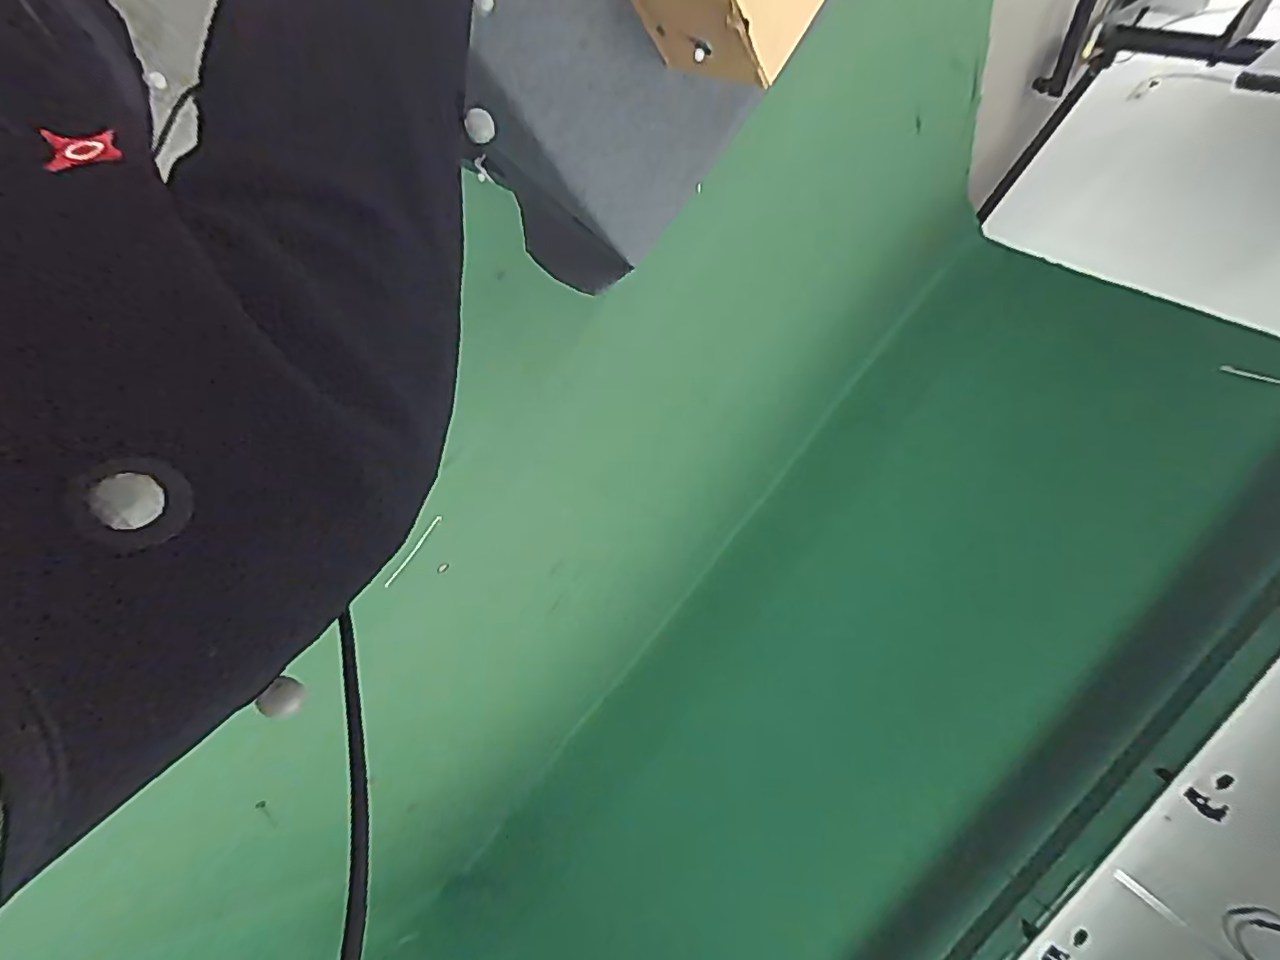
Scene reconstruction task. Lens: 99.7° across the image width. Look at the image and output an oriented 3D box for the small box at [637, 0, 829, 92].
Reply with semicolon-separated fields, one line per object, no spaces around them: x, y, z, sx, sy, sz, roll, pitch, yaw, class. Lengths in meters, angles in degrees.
0.098;-0.568;0.576;0.179;0.176;0.168;-57;151;8;small box
